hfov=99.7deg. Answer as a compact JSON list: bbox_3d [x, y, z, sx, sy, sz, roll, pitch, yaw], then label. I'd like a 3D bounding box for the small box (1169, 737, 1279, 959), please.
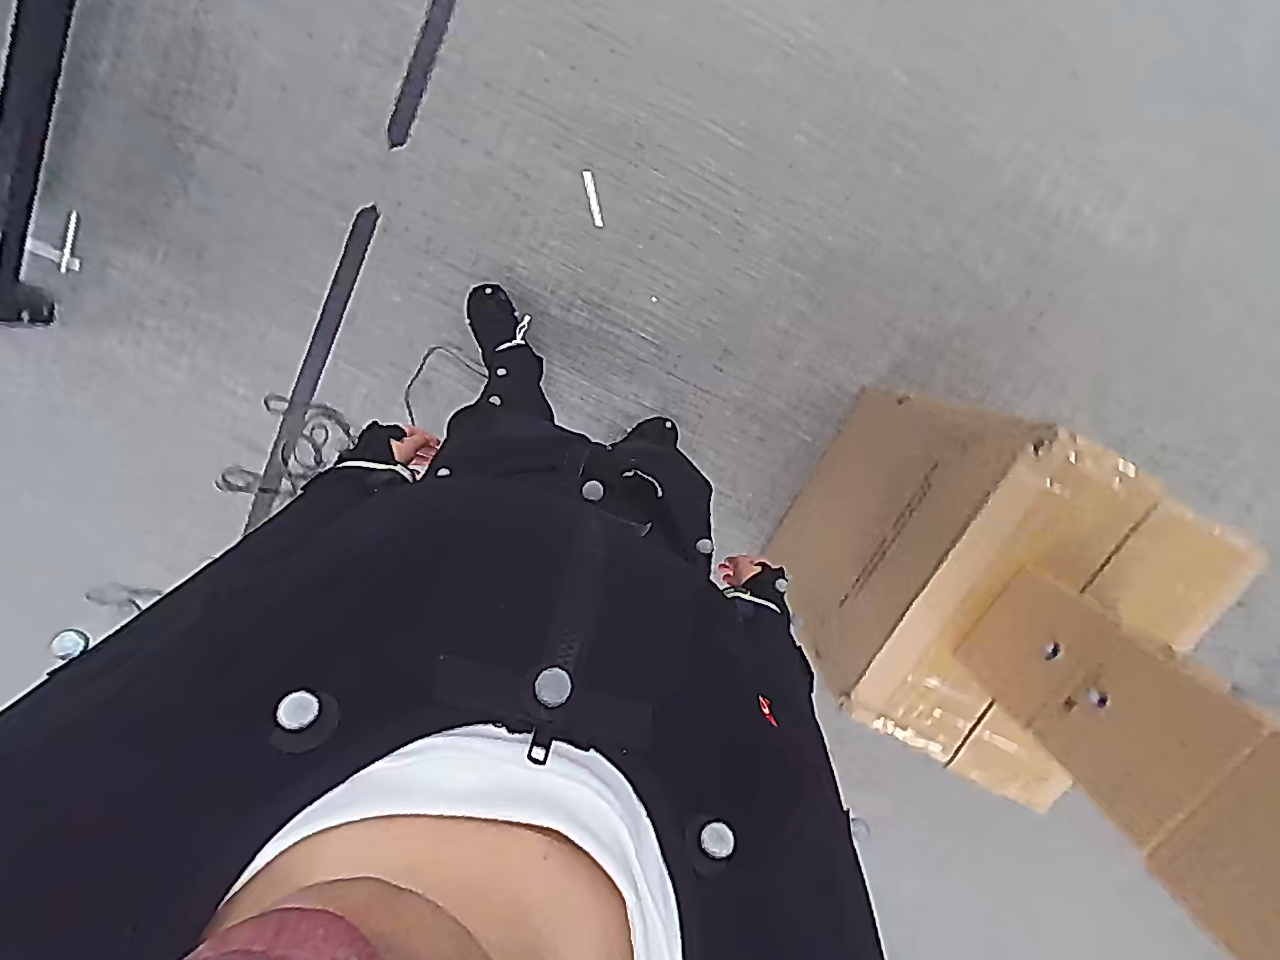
[{"bbox_3d":[0.576,0.340,0.410,0.168,0.176,0.179,28,103,-6],"label":"small box"}]

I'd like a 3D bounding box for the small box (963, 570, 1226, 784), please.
[{"bbox_3d":[0.585,0.251,0.727,0.168,0.176,0.179,29,104,-6],"label":"small box"}]
